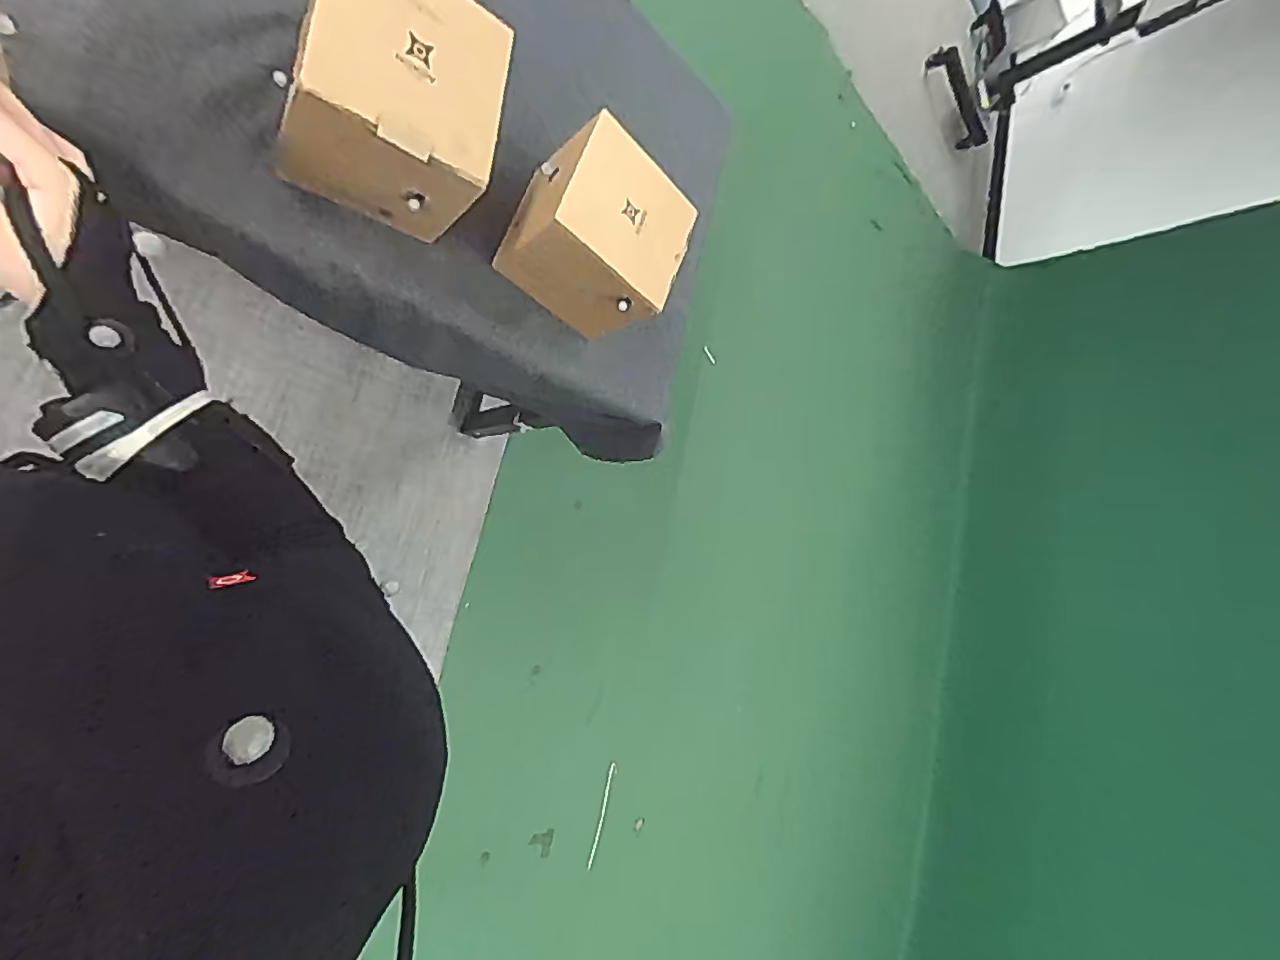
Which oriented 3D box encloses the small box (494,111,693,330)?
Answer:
[{"bbox_3d":[-0.065,-0.322,0.717,0.179,0.176,0.168,31,70,-37],"label":"small box"}]
